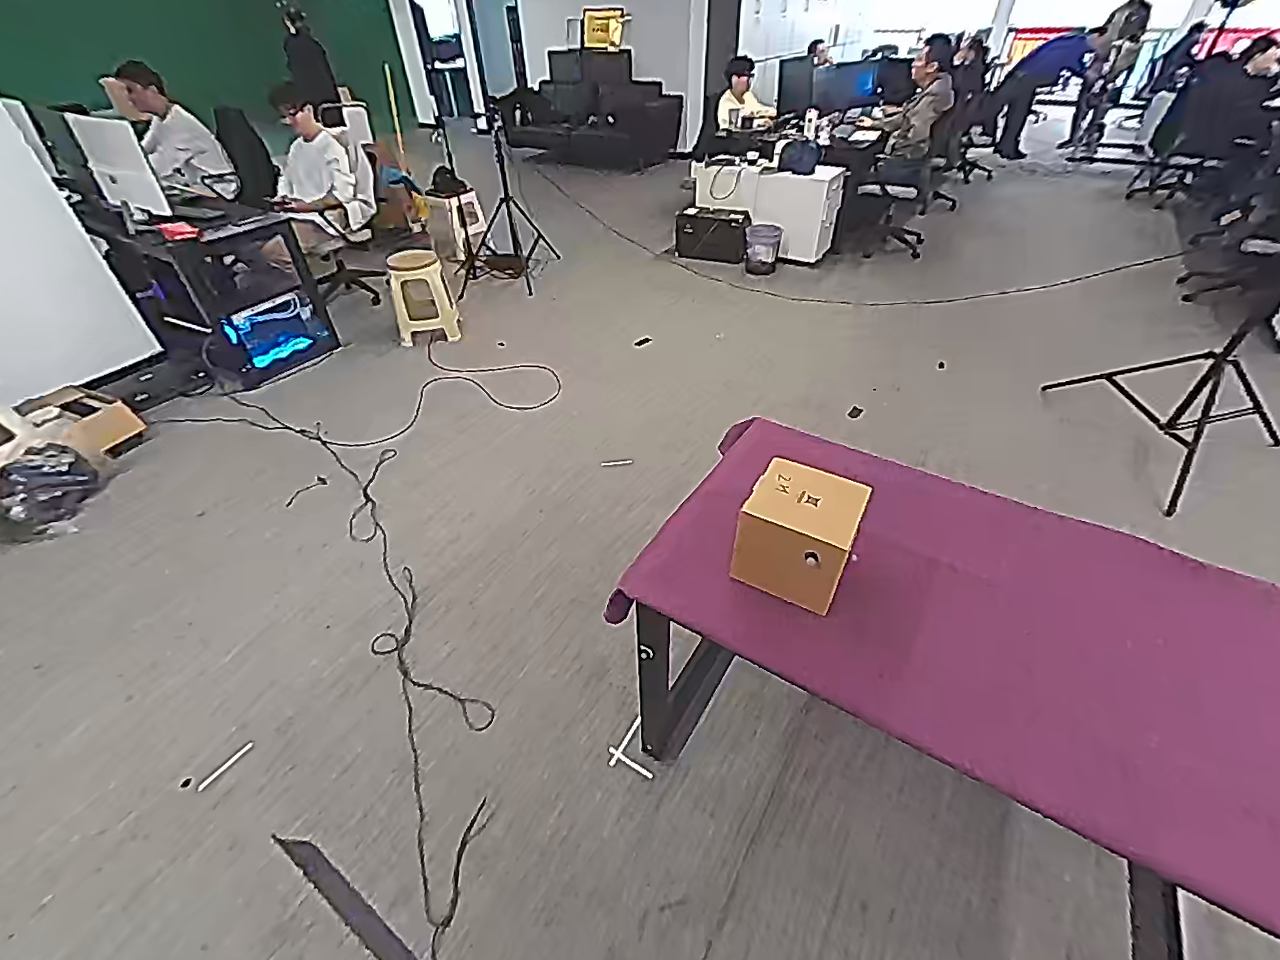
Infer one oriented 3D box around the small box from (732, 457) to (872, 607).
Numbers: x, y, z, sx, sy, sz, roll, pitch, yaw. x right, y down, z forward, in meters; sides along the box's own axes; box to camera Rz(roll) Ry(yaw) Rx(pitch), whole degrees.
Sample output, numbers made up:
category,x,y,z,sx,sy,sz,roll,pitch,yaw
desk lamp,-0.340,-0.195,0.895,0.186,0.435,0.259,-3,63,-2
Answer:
category,x,y,z,sx,sy,sz,roll,pitch,yaw
small box,0.276,0.093,0.941,0.179,0.176,0.168,20,44,23
